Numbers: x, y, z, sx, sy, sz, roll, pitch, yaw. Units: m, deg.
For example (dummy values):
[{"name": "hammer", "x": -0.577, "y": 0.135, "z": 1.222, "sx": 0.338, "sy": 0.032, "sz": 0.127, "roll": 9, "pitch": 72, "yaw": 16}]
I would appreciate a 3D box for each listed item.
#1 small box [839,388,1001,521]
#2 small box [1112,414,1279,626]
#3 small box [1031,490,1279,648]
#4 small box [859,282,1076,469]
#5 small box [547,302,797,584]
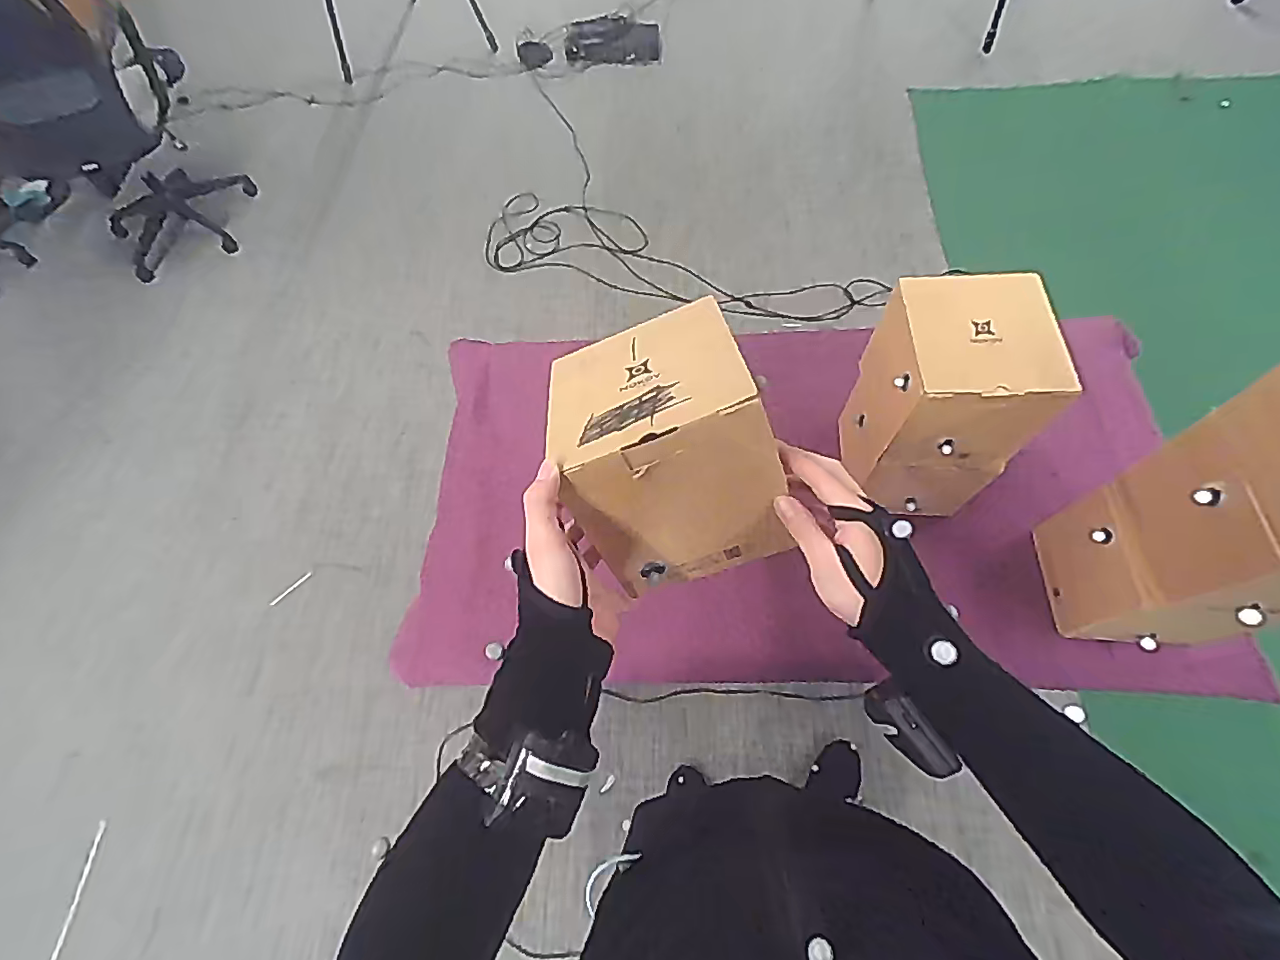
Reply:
[{"name": "small box", "x": 0.416, "y": -0.052, "z": 0.839, "sx": 0.168, "sy": 0.176, "sz": 0.179, "roll": 3, "pitch": 64, "yaw": 6}, {"name": "small box", "x": 0.670, "y": 0.048, "z": 0.585, "sx": 0.168, "sy": 0.176, "sz": 0.179, "roll": 2, "pitch": 64, "yaw": 8}, {"name": "small box", "x": 0.680, "y": 0.126, "z": 0.729, "sx": 0.179, "sy": 0.176, "sz": 0.168, "roll": 2, "pitch": 63, "yaw": 7}, {"name": "small box", "x": 0.397, "y": -0.128, "z": 0.696, "sx": 0.168, "sy": 0.176, "sz": 0.179, "roll": 0, "pitch": 65, "yaw": 4}, {"name": "small box", "x": 0.030, "y": -0.025, "z": 0.497, "sx": 0.168, "sy": 0.176, "sz": 0.179, "roll": -20, "pitch": 39, "yaw": 11}]
